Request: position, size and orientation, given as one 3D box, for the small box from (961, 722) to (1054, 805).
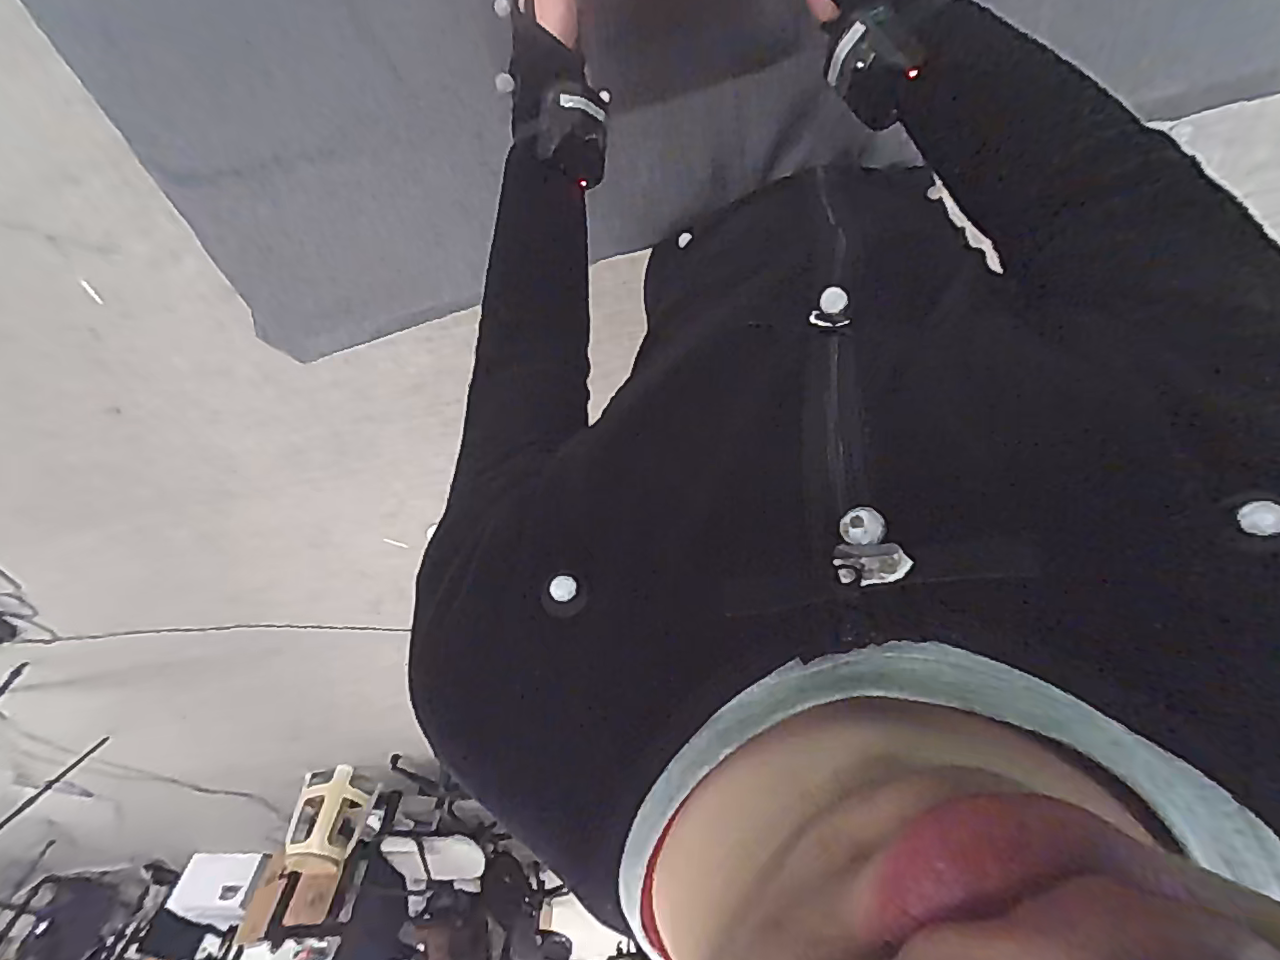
[{"bbox_3d":[1.111,0.864,1.653,0.179,0.176,0.168,-13,128,11],"label":"small box"}]
